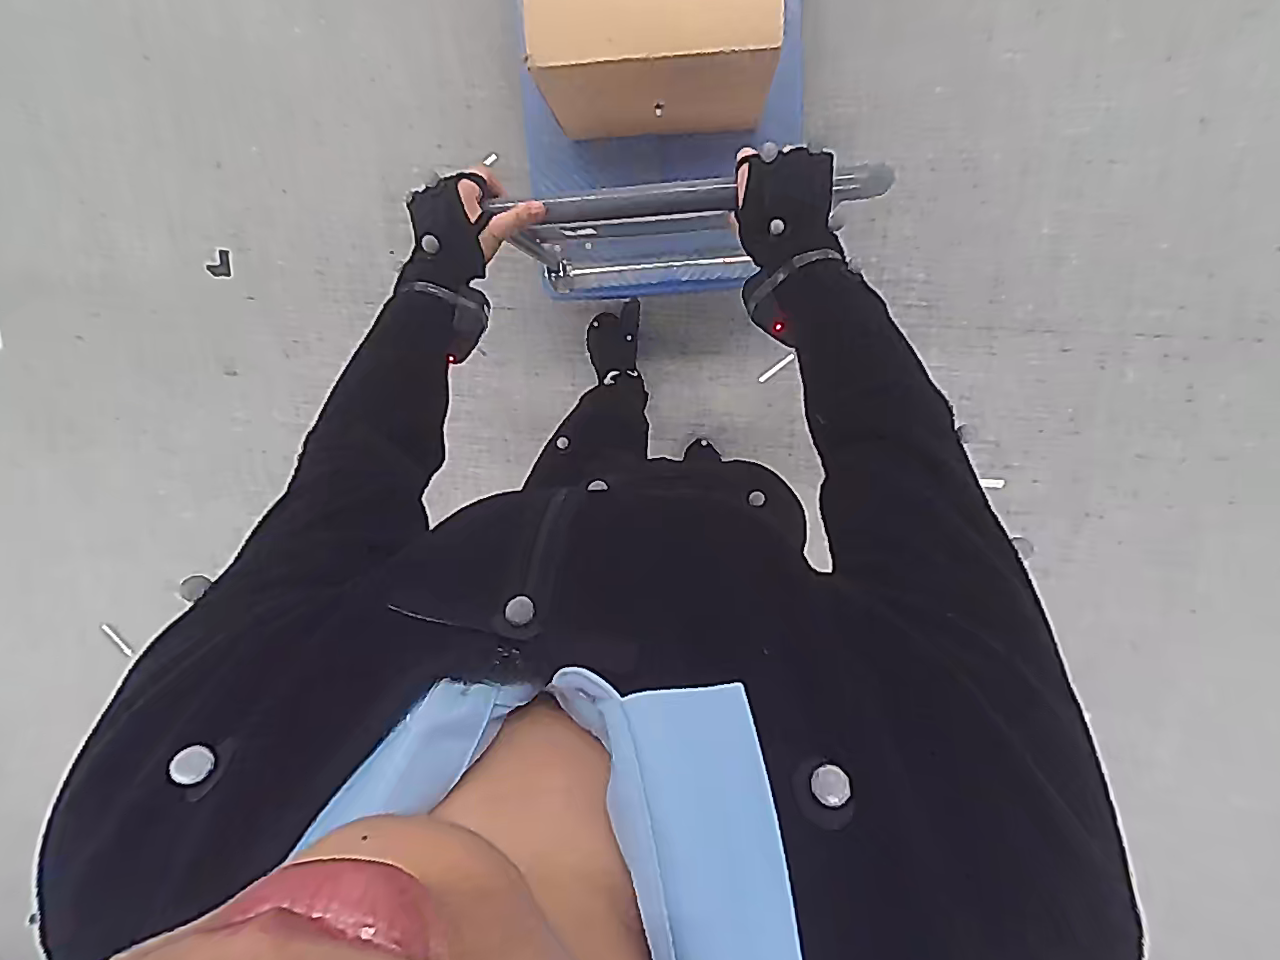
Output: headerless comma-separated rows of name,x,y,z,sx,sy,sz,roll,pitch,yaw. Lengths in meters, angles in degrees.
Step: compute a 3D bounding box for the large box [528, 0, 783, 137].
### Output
large box,0.033,-0.855,0.971,0.408,0.320,0.320,0,102,6
